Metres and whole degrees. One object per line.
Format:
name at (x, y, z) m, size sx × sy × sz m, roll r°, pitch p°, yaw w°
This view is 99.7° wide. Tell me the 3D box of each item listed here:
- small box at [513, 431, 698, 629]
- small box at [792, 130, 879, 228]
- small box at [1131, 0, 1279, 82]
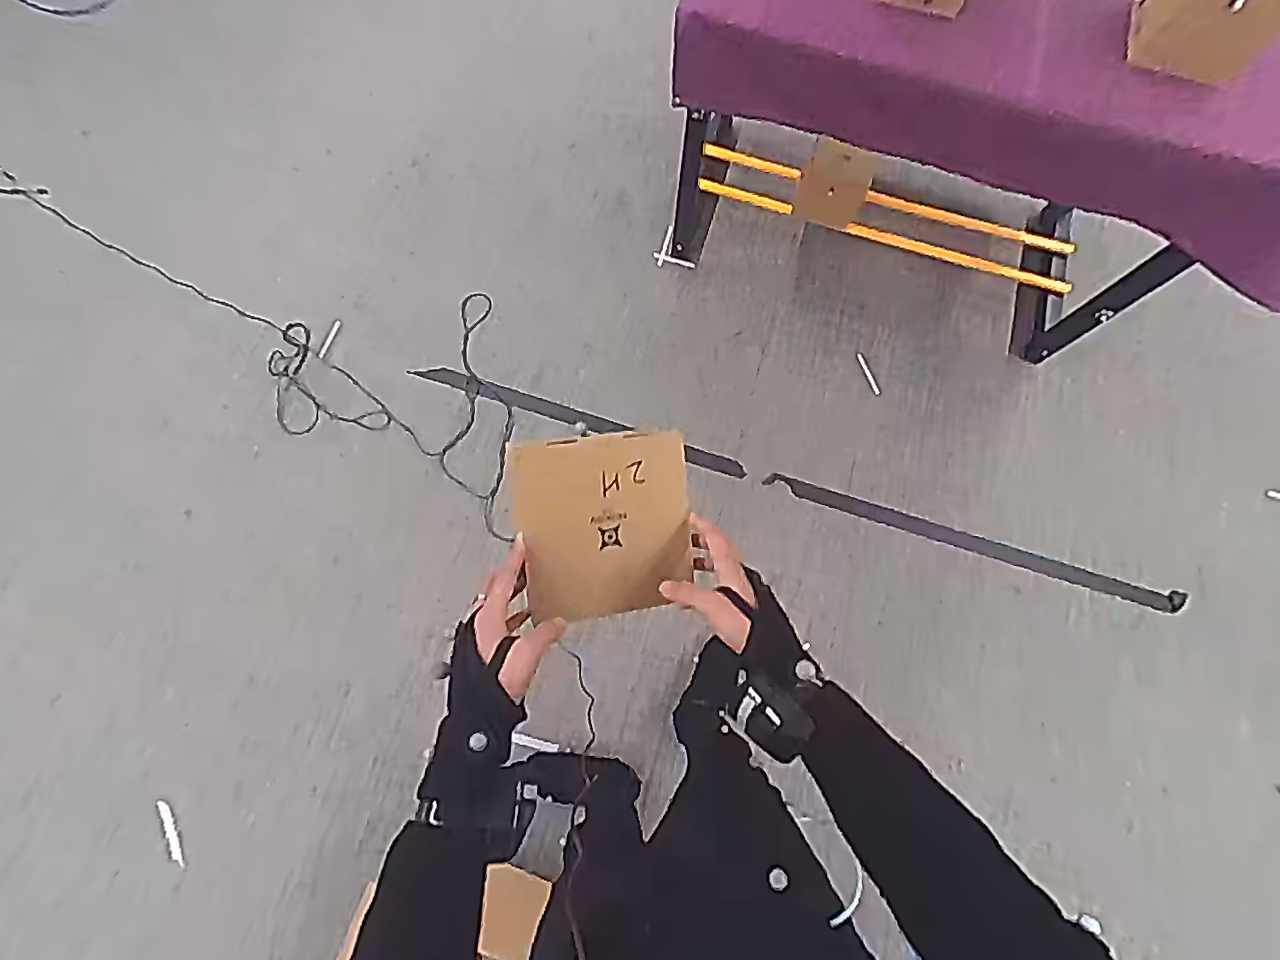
small box at (-0.046, 0.040, 0.595) m, size 0.168 × 0.176 × 0.179 m, roll -7°, pitch 96°, yaw -16°
small box at (0.563, -0.867, 1.573) m, size 0.179 × 0.176 × 0.168 m, roll 15°, pitch 76°, yaw 3°
small box at (1.006, -0.838, 0.934) m, size 0.179 × 0.176 × 0.168 m, roll 17°, pitch 76°, yaw 3°
